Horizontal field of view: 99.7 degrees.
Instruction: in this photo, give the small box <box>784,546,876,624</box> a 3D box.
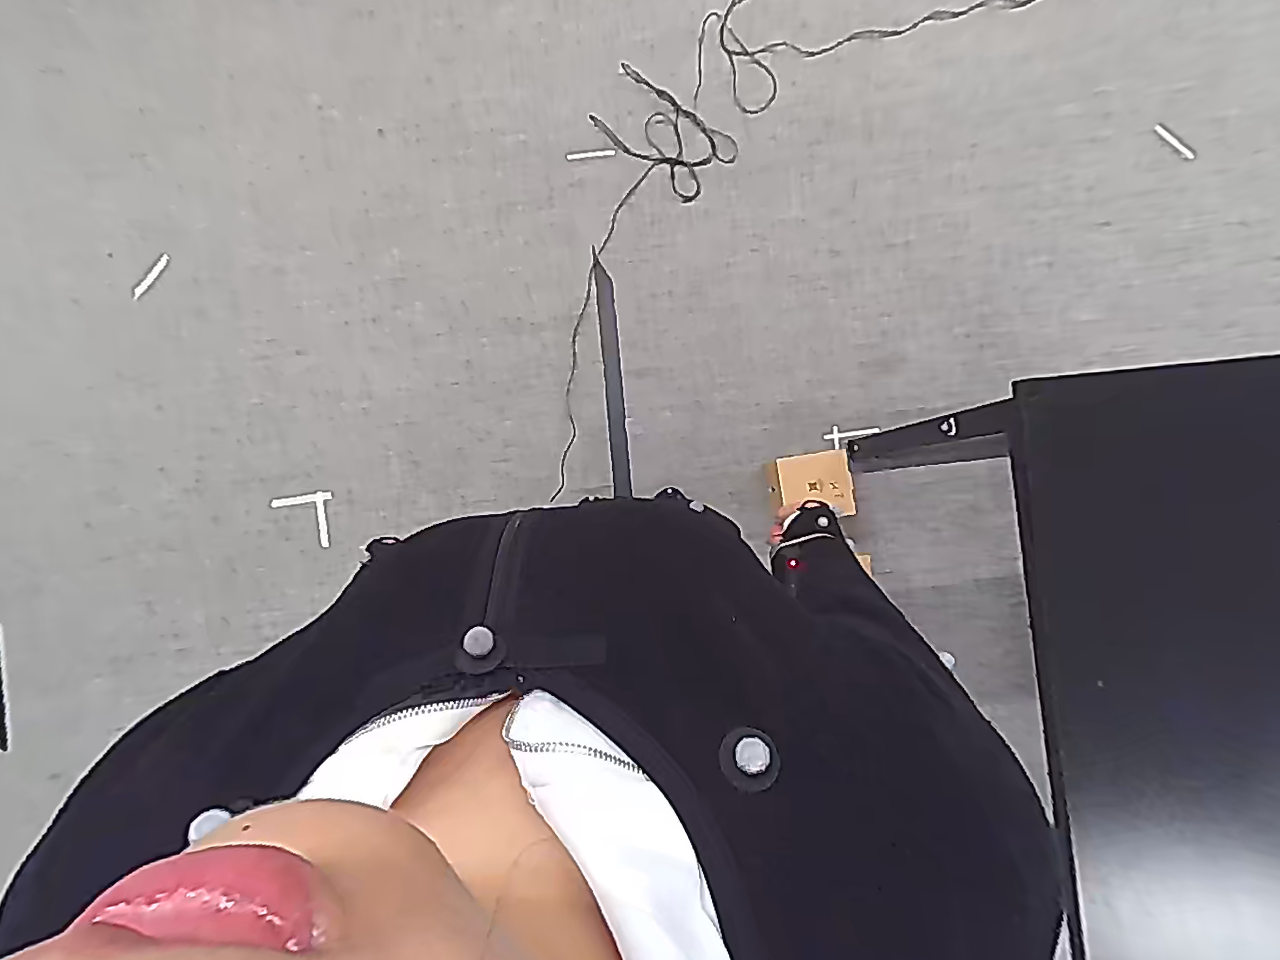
[{"bbox_3d":[0.487,0.267,1.407,0.179,0.176,0.168,-7,88,3],"label":"small box"}]
